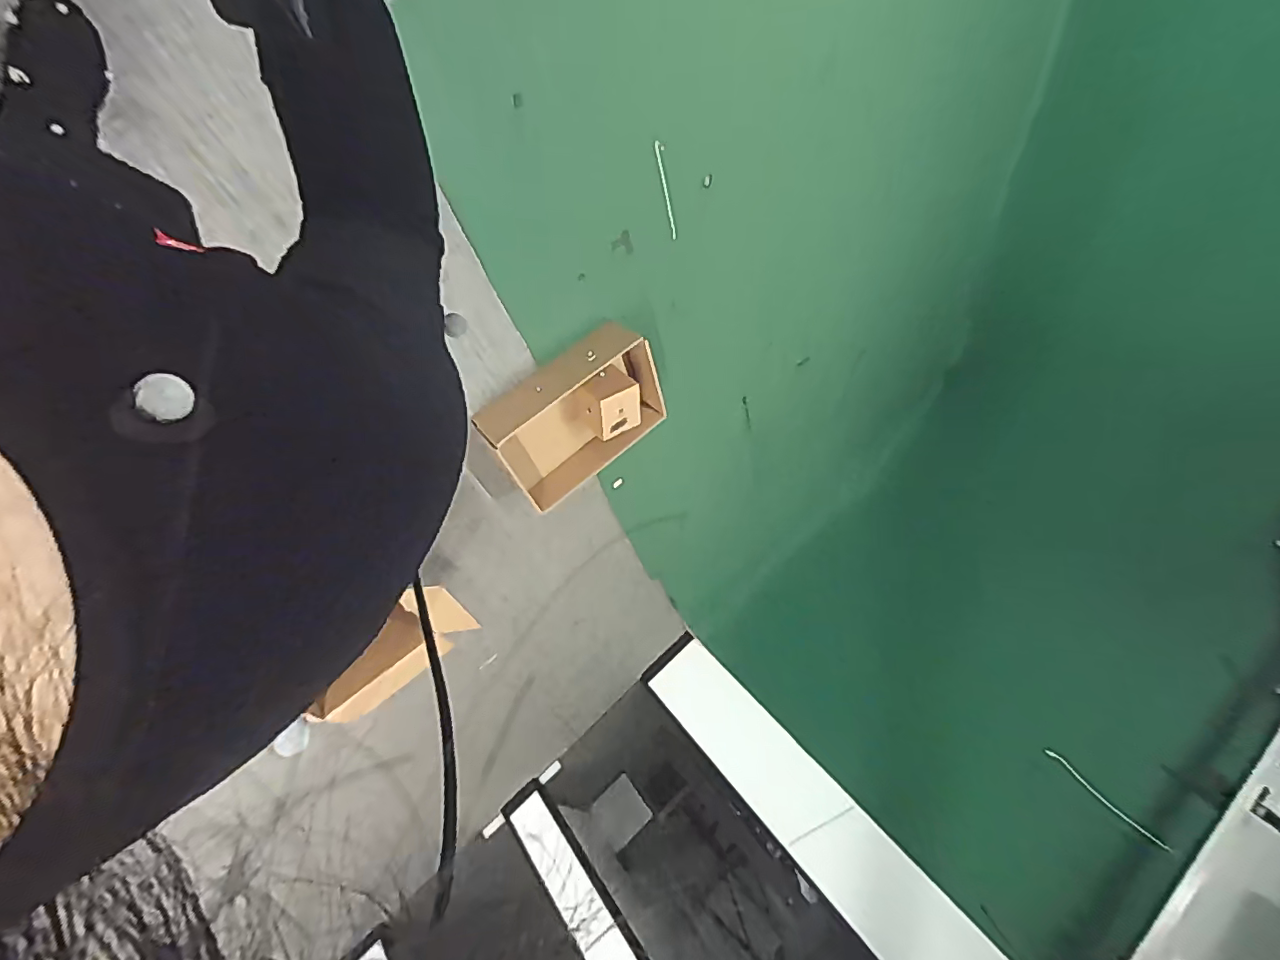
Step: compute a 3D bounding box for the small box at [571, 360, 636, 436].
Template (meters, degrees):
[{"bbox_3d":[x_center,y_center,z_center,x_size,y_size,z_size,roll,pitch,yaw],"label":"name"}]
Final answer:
[{"bbox_3d":[-0.128,-0.293,1.907,0.168,0.176,0.179,-29,141,-25],"label":"small box"}]
